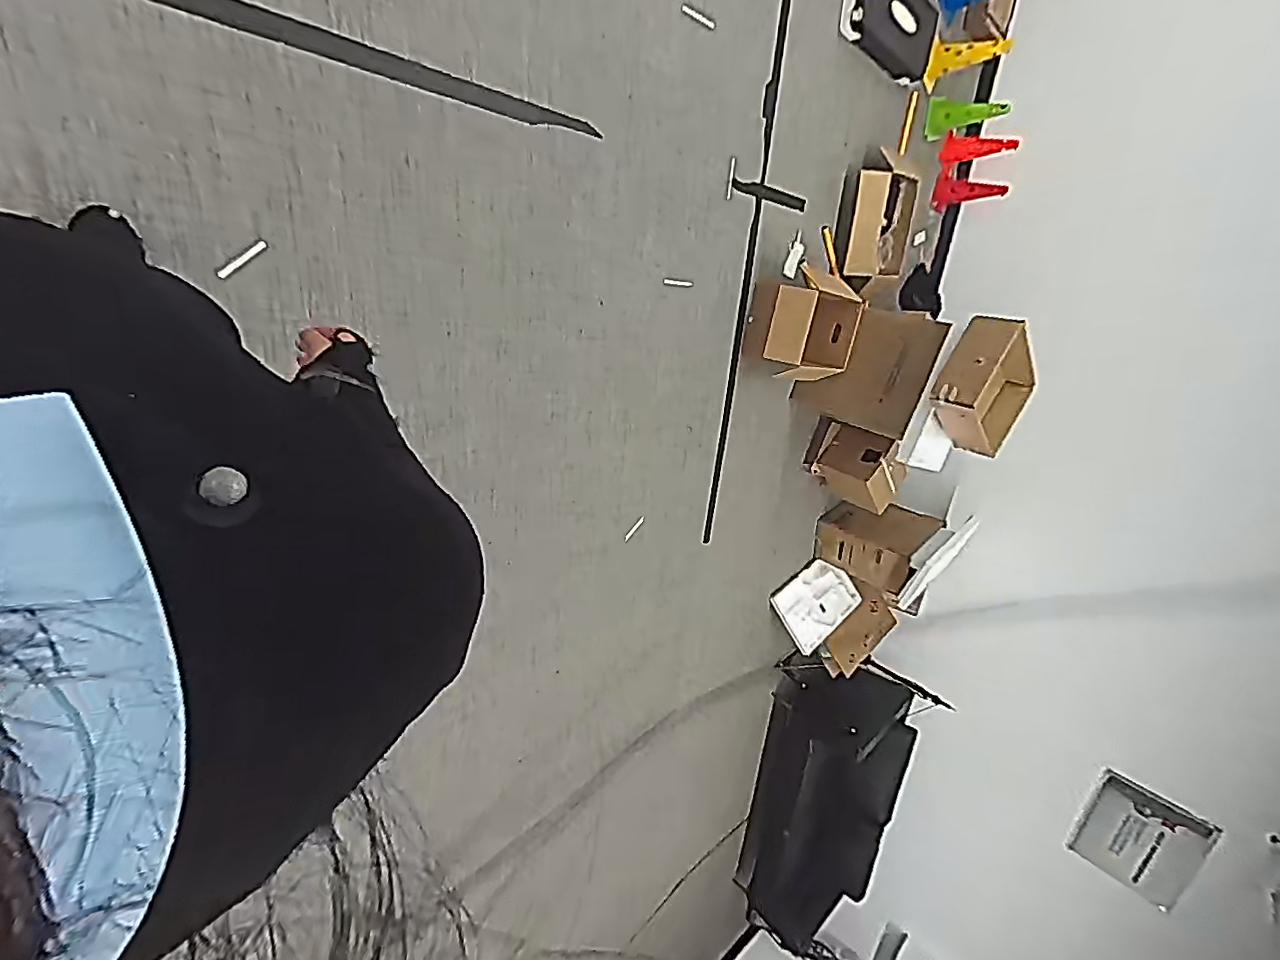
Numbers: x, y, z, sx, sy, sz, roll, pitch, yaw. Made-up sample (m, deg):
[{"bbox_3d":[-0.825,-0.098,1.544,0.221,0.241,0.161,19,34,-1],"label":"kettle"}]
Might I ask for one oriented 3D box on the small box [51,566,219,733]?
[{"bbox_3d":[-0.845,0.275,0.915,0.168,0.176,0.179,-20,120,-40],"label":"small box"}]
